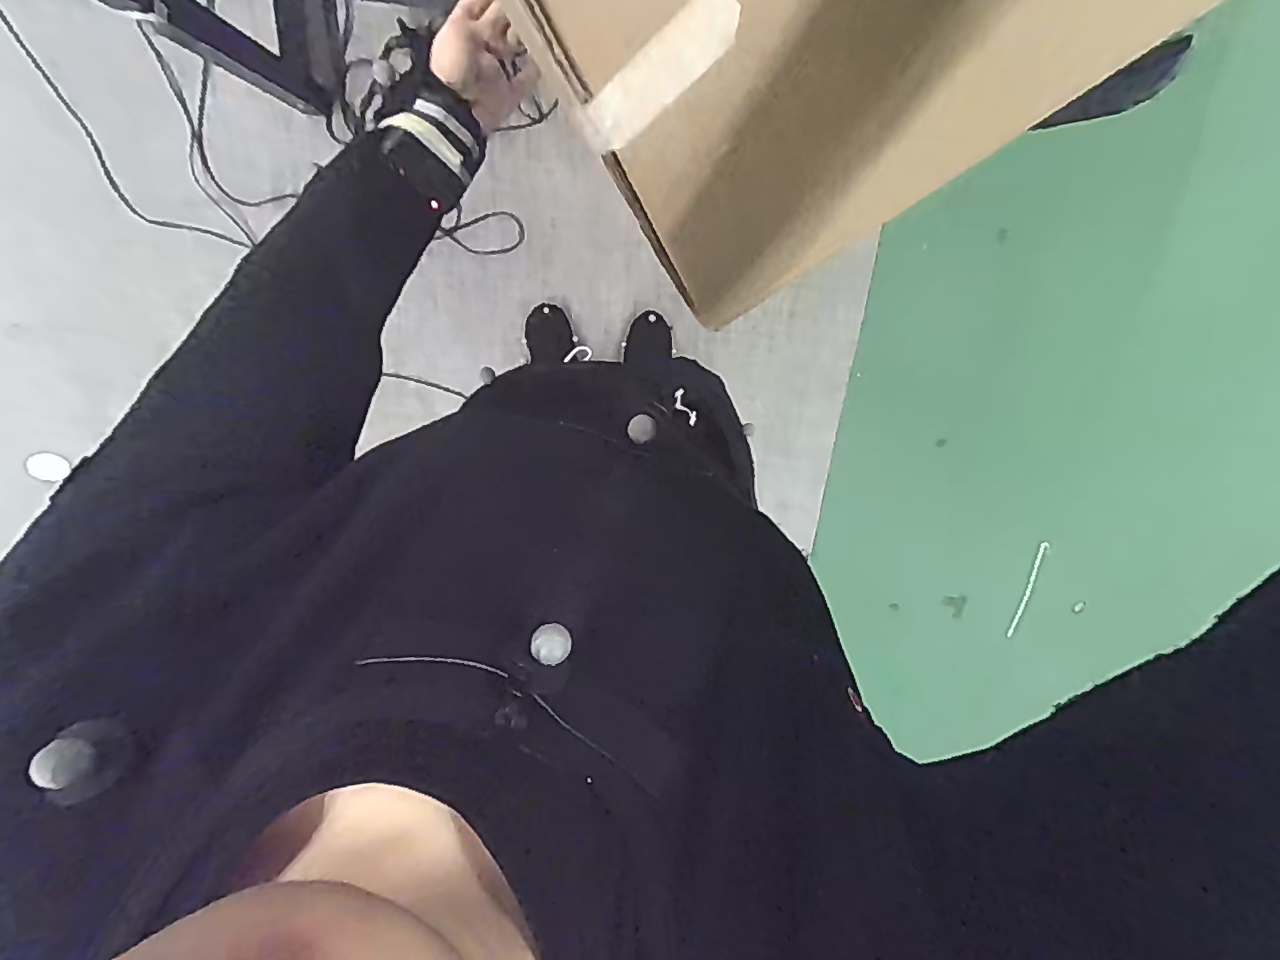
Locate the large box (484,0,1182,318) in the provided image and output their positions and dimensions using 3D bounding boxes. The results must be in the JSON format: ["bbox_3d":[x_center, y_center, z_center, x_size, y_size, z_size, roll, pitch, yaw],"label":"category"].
[{"bbox_3d":[0.030,-0.359,0.227,0.320,0.320,0.408,-33,69,11],"label":"large box"}]
